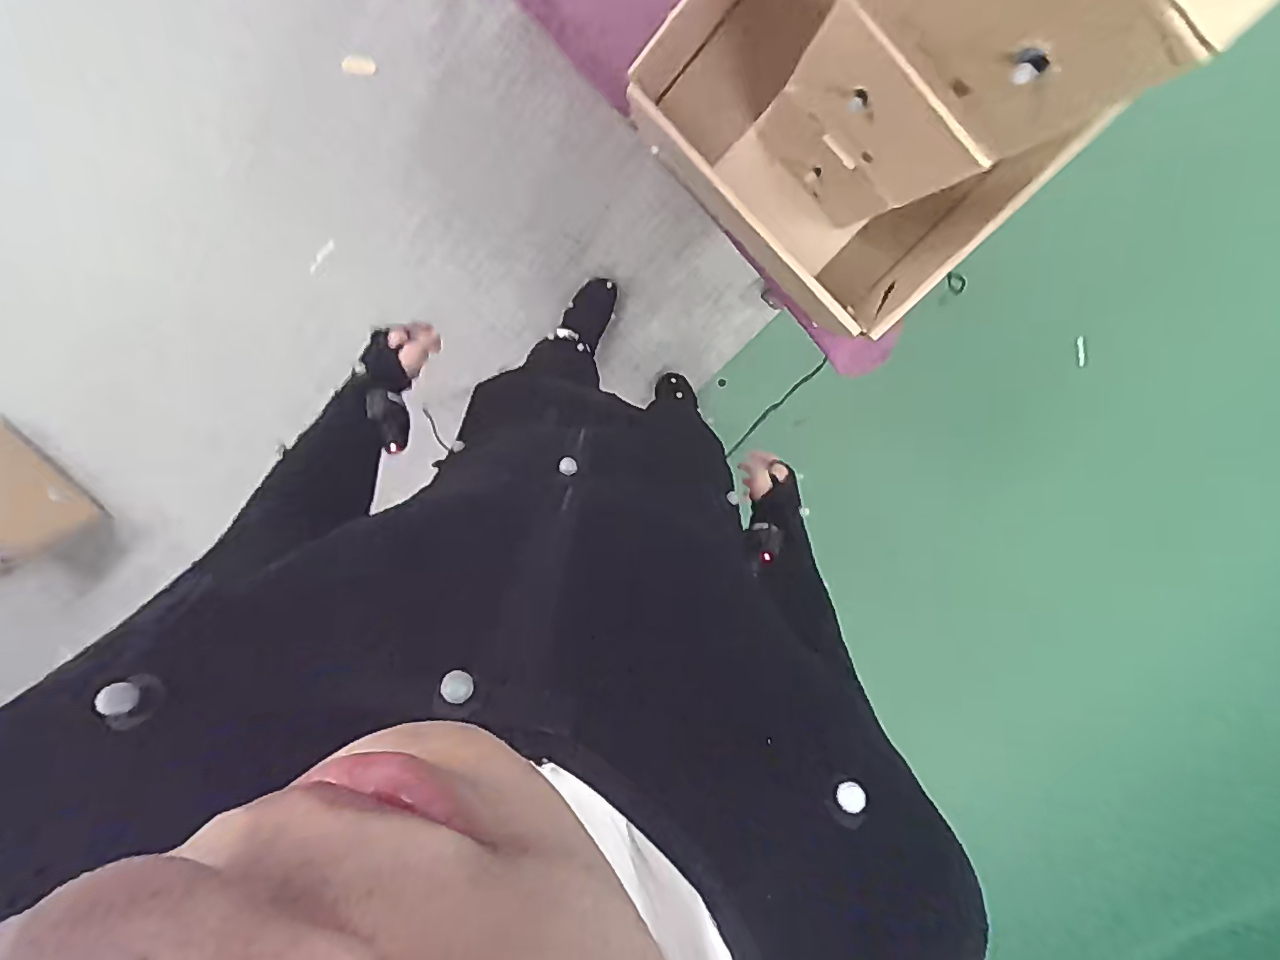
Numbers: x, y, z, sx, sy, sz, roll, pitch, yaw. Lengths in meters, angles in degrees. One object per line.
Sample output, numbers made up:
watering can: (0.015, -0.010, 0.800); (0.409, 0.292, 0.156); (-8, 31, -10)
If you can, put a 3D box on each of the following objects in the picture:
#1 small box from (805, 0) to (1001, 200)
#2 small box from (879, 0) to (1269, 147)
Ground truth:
small box: (0.260, -0.371, 0.450); (0.168, 0.176, 0.179); (42, 103, -11)
small box: (0.258, -0.327, 0.293); (0.168, 0.176, 0.179); (41, 103, -11)
